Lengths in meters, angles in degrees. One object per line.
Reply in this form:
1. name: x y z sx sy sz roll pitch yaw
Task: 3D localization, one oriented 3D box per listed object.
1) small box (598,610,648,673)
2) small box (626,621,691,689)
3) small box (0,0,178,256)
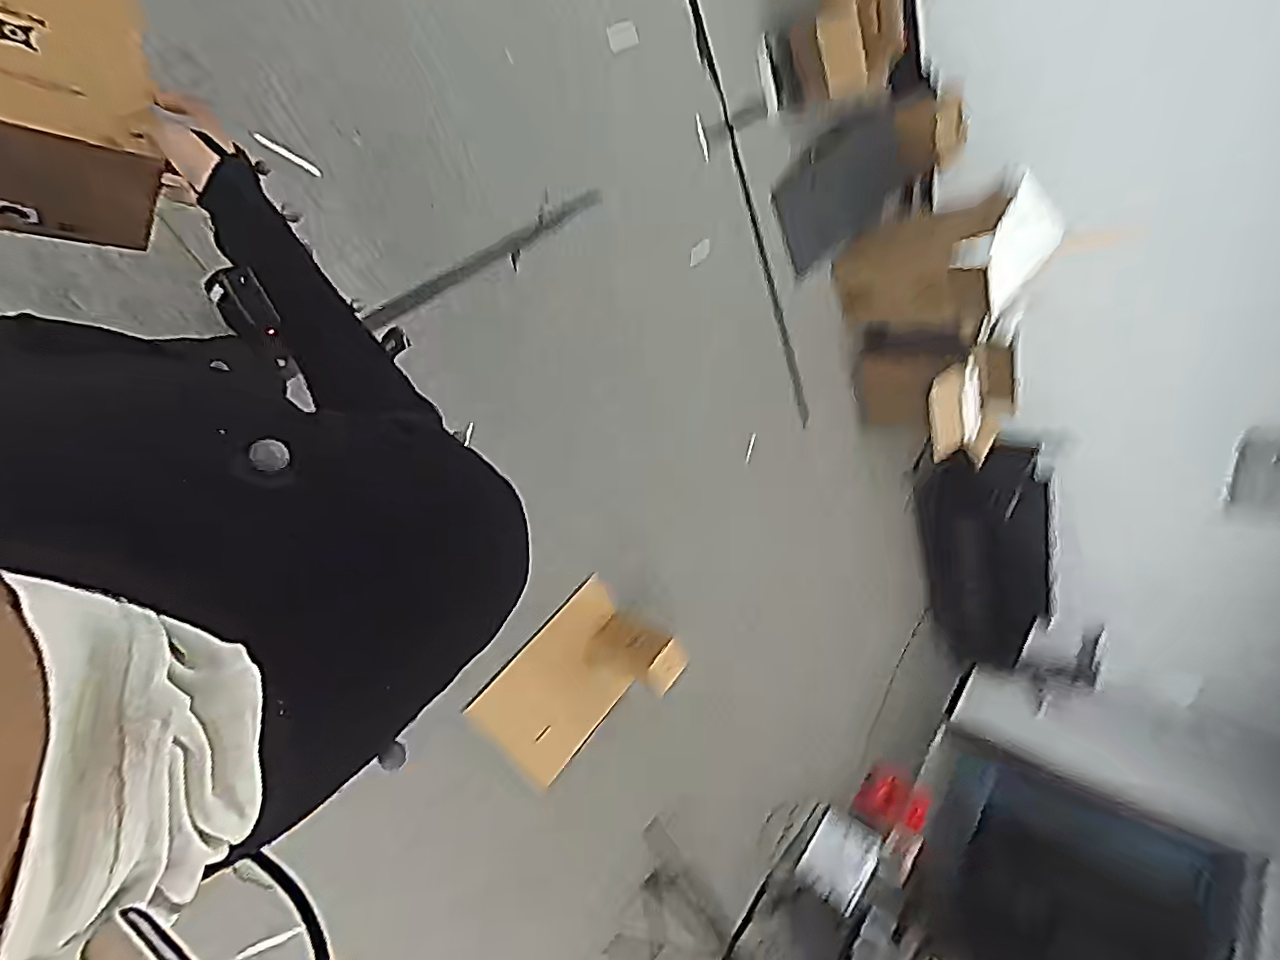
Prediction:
1. small box: -0.049 0.672 2.285 0.168 0.176 0.179 -44 125 -29
2. small box: 0.074 0.697 2.175 0.168 0.176 0.179 -43 125 -30
3. small box: -0.542 -0.335 0.482 0.168 0.176 0.179 -9 84 -48
